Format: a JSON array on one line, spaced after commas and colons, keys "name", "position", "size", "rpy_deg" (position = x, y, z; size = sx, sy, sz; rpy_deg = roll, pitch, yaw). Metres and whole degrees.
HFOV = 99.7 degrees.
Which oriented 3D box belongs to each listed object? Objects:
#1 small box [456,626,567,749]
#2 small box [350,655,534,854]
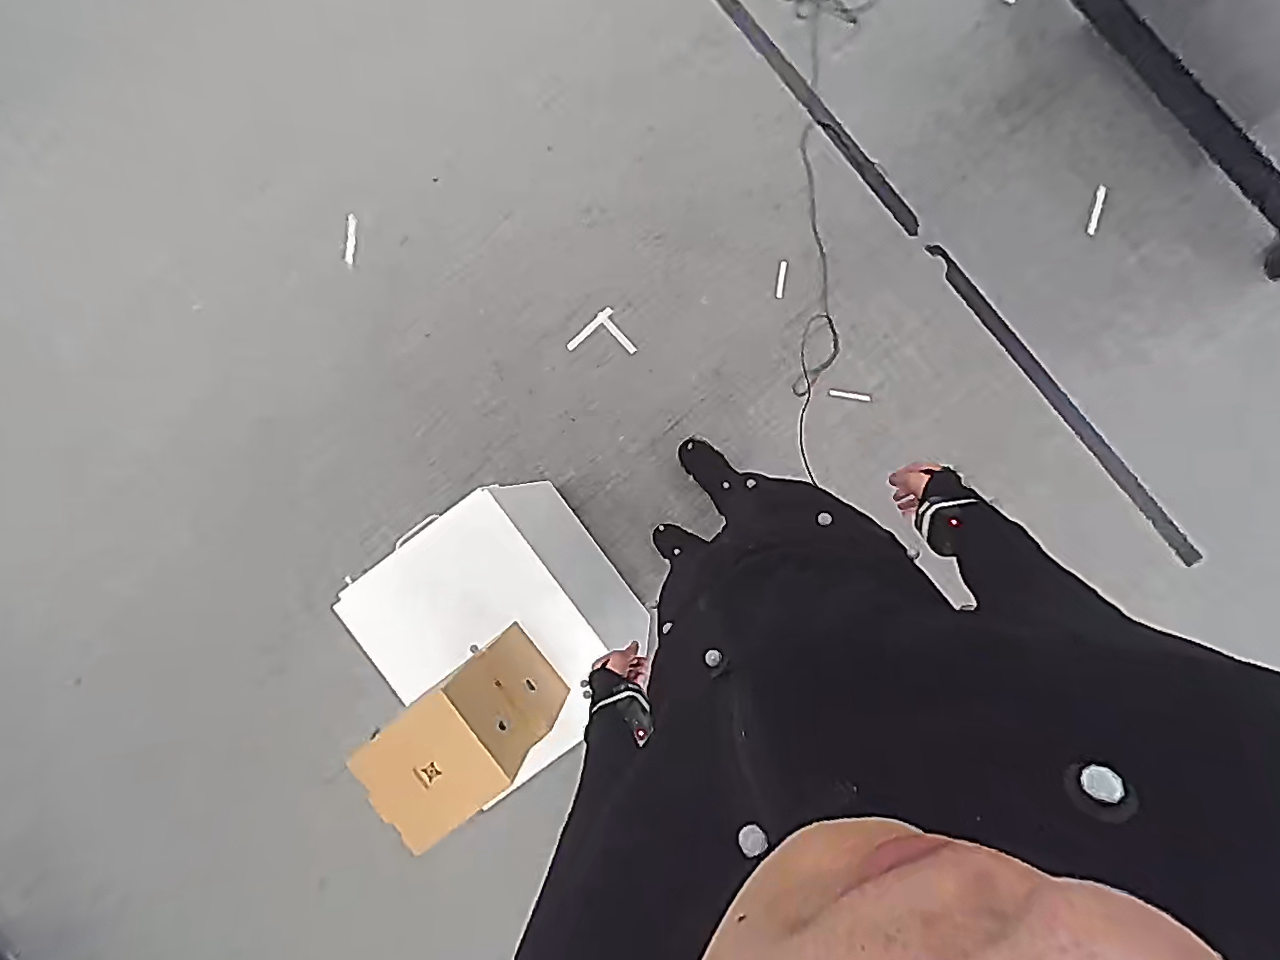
[{"name": "small box", "position": [-0.255, 0.395, 0.978], "size": [0.168, 0.176, 0.179], "rpy_deg": [-40, 88, 3]}, {"name": "small box", "position": [-0.280, 0.397, 0.817], "size": [0.179, 0.176, 0.168], "rpy_deg": [-38, 89, 3]}]
